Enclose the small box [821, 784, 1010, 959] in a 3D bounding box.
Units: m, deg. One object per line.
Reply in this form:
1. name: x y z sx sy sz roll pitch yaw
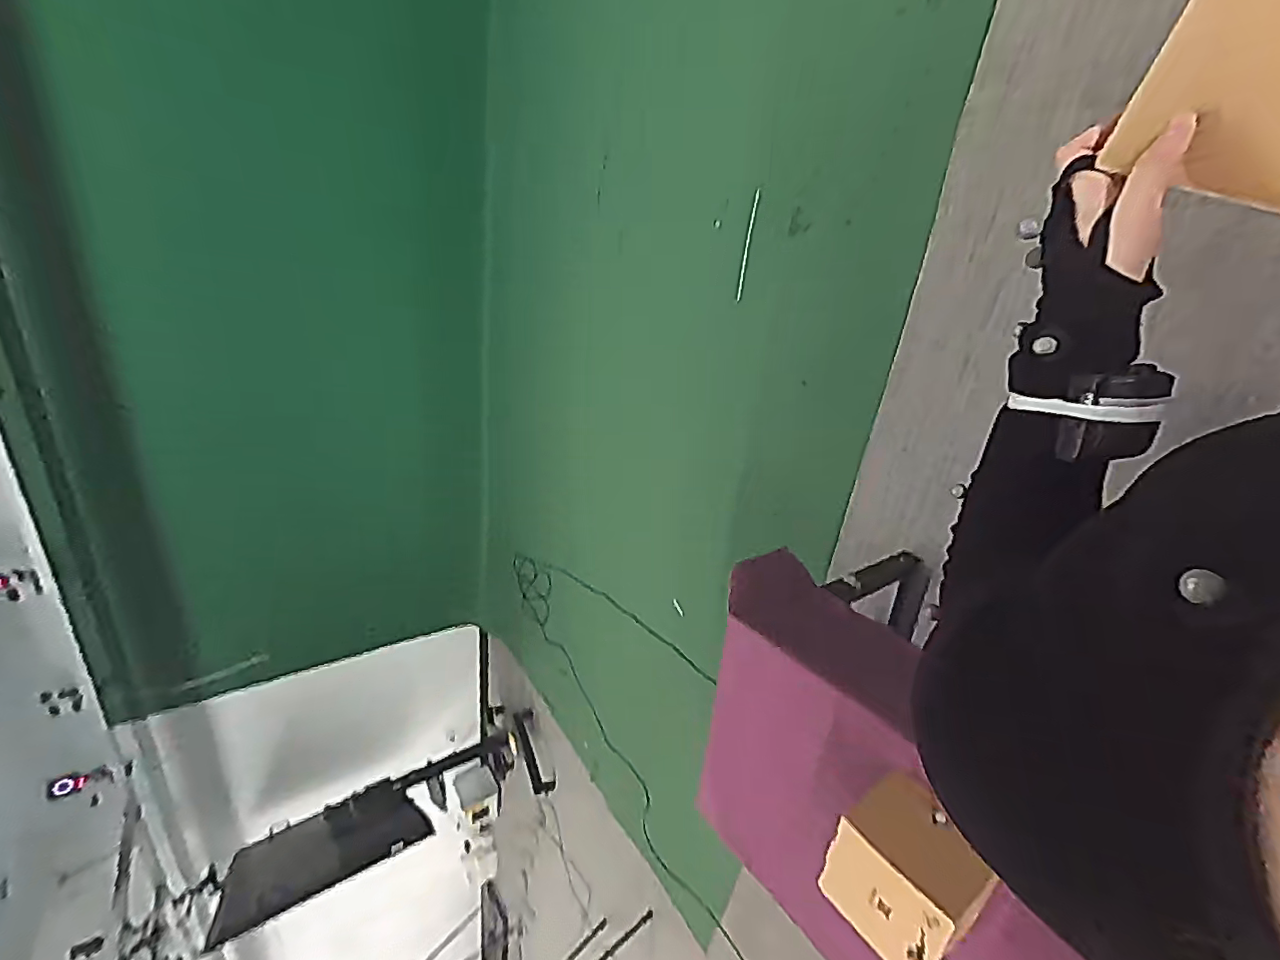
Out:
1. small box: 0.417 0.606 0.829 0.179 0.176 0.168 32 123 47
